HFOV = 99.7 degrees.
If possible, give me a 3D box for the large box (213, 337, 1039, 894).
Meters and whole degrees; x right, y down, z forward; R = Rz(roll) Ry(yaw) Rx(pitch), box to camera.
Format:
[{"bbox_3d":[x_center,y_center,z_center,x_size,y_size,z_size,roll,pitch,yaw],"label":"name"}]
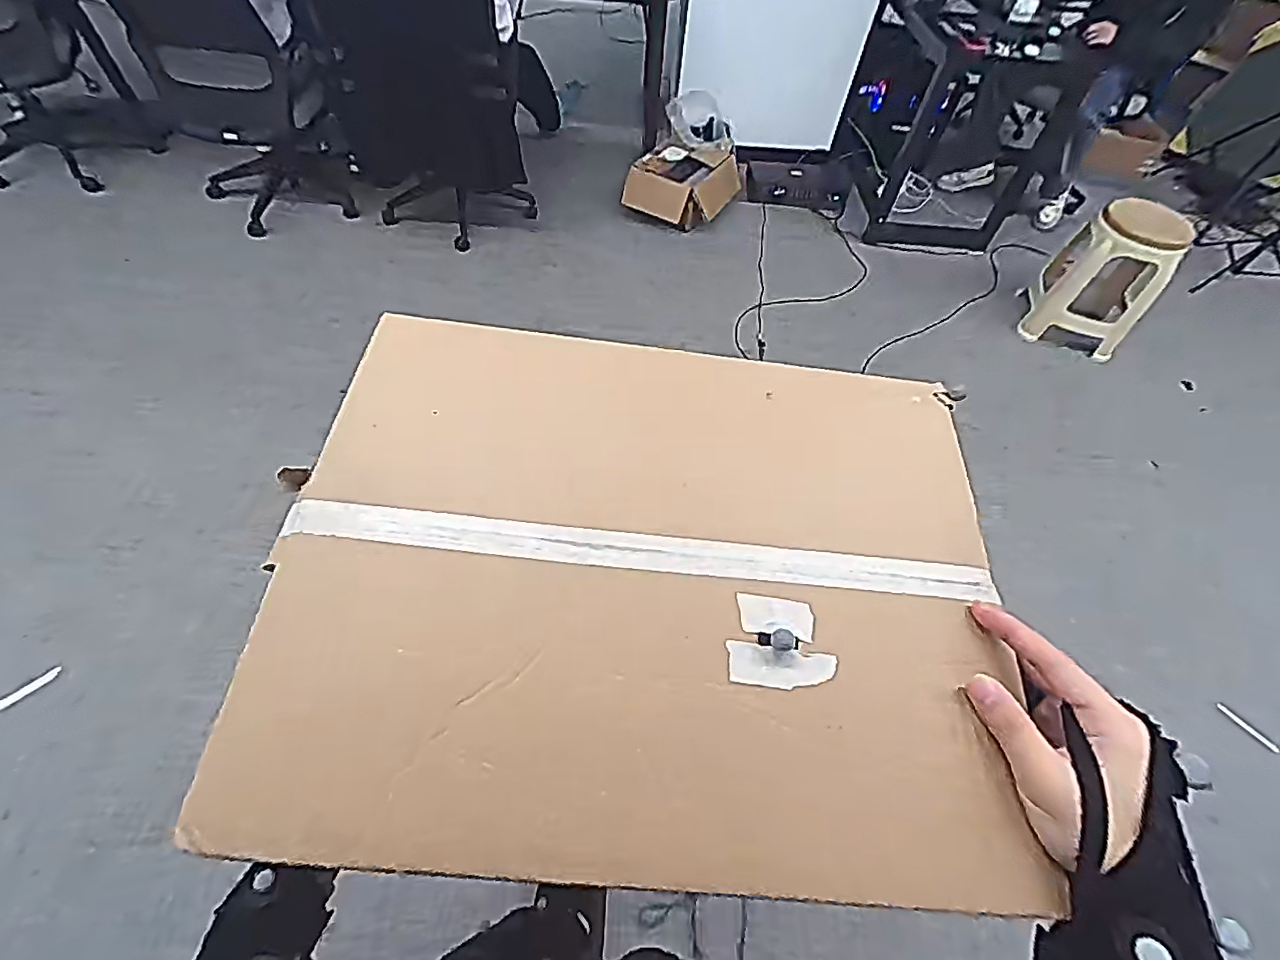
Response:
[{"bbox_3d":[-0.005,0.121,0.455,0.408,0.320,0.320,7,62,-4],"label":"large box"}]
